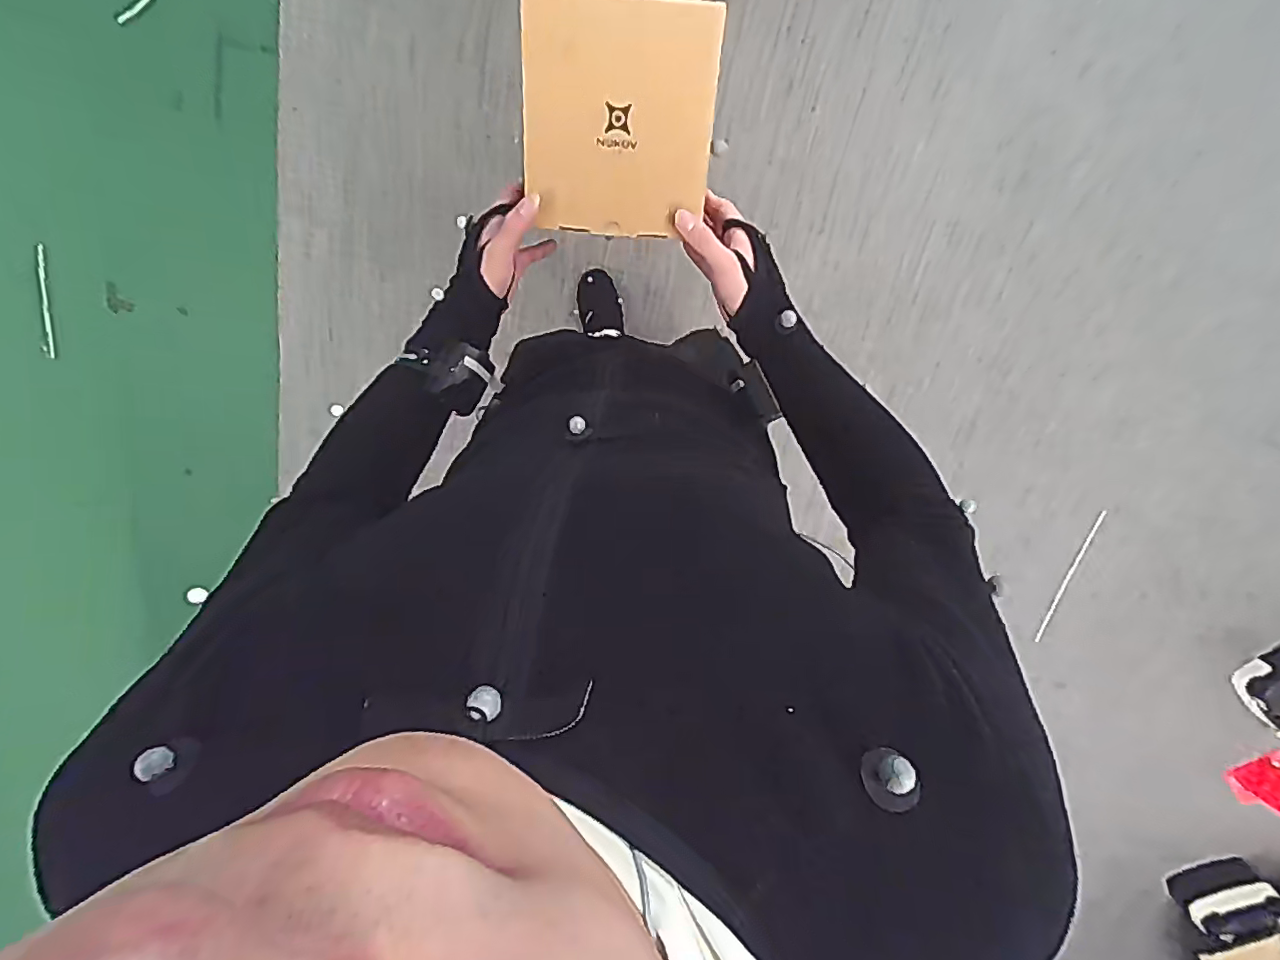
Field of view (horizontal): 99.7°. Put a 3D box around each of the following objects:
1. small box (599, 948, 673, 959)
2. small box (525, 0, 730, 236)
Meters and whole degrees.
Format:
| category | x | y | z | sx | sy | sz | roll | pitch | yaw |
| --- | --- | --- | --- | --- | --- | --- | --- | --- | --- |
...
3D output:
| category | x | y | z | sx | sy | sz | roll | pitch | yaw |
| --- | --- | --- | --- | --- | --- | --- | --- | --- | --- |
| small box | -0.007 | 1.201 | 1.218 | 0.179 | 0.176 | 0.168 | -3 | 108 | 3 |
| small box | -0.015 | -0.348 | 0.533 | 0.168 | 0.176 | 0.179 | 4 | 120 | -1 |
